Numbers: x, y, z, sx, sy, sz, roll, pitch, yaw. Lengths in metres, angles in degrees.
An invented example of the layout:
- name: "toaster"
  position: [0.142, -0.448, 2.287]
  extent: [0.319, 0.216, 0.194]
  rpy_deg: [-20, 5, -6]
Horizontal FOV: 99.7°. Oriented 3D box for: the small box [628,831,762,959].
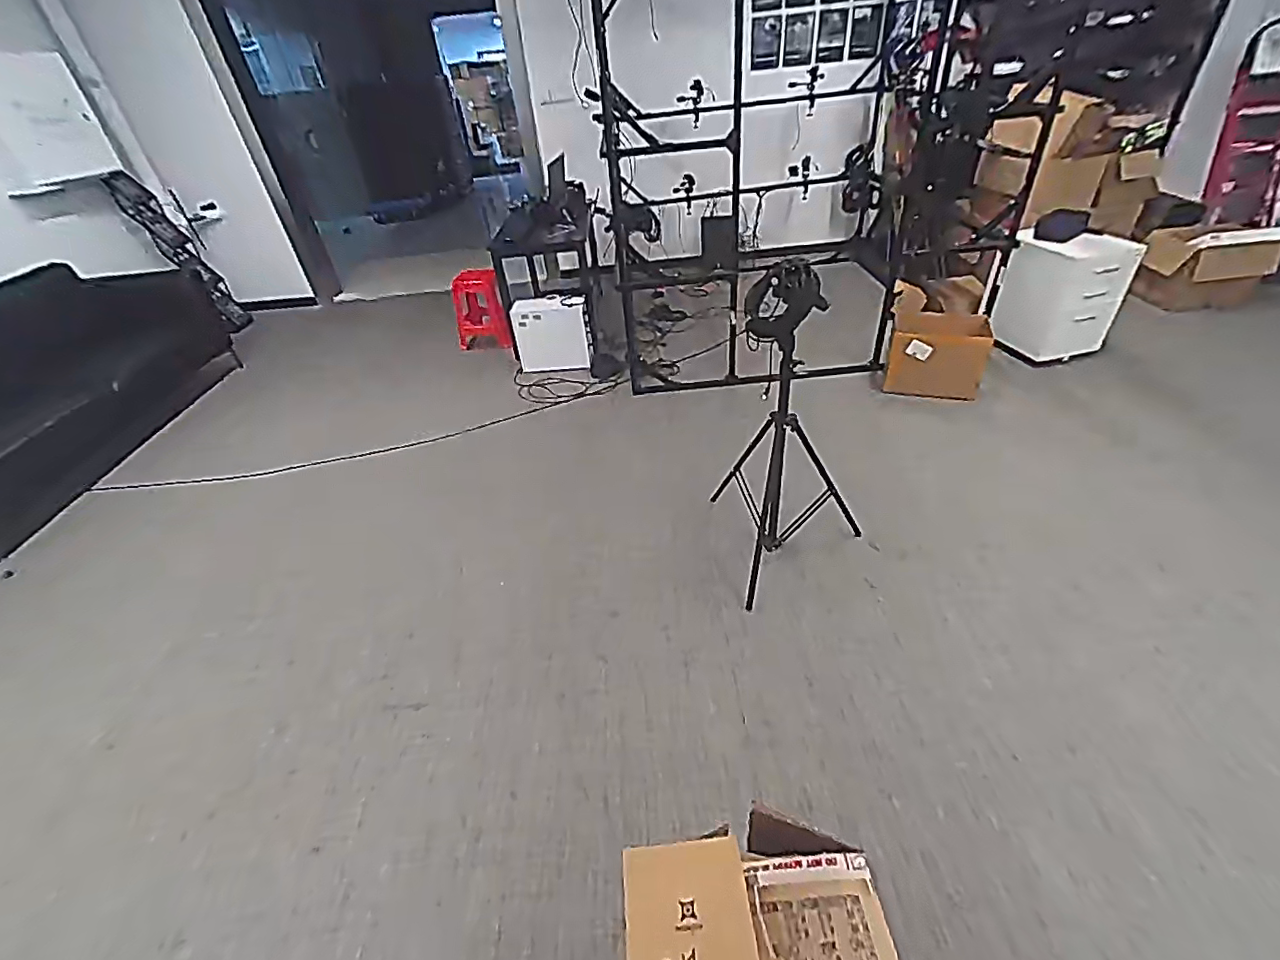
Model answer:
- name: "small box"
  position: [0.075, 0.627, 0.759]
  extent: [0.168, 0.176, 0.179]
  rpy_deg: [-8, 40, 1]
